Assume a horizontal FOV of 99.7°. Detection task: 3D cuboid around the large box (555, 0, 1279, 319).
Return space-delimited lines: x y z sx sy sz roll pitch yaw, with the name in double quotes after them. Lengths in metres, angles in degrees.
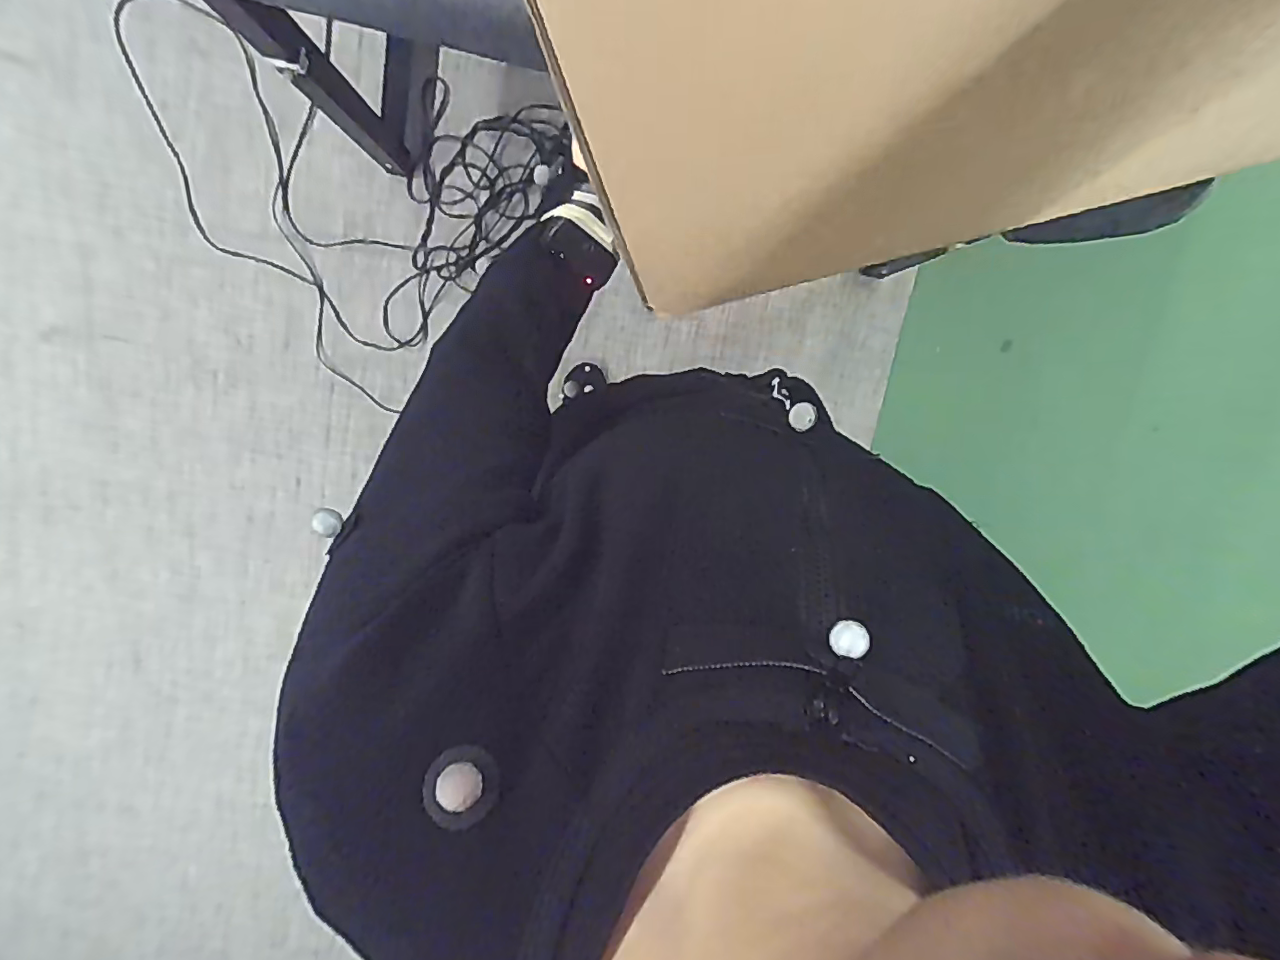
0.155 -0.341 0.255 0.408 0.320 0.320 -13 146 14 "large box"
